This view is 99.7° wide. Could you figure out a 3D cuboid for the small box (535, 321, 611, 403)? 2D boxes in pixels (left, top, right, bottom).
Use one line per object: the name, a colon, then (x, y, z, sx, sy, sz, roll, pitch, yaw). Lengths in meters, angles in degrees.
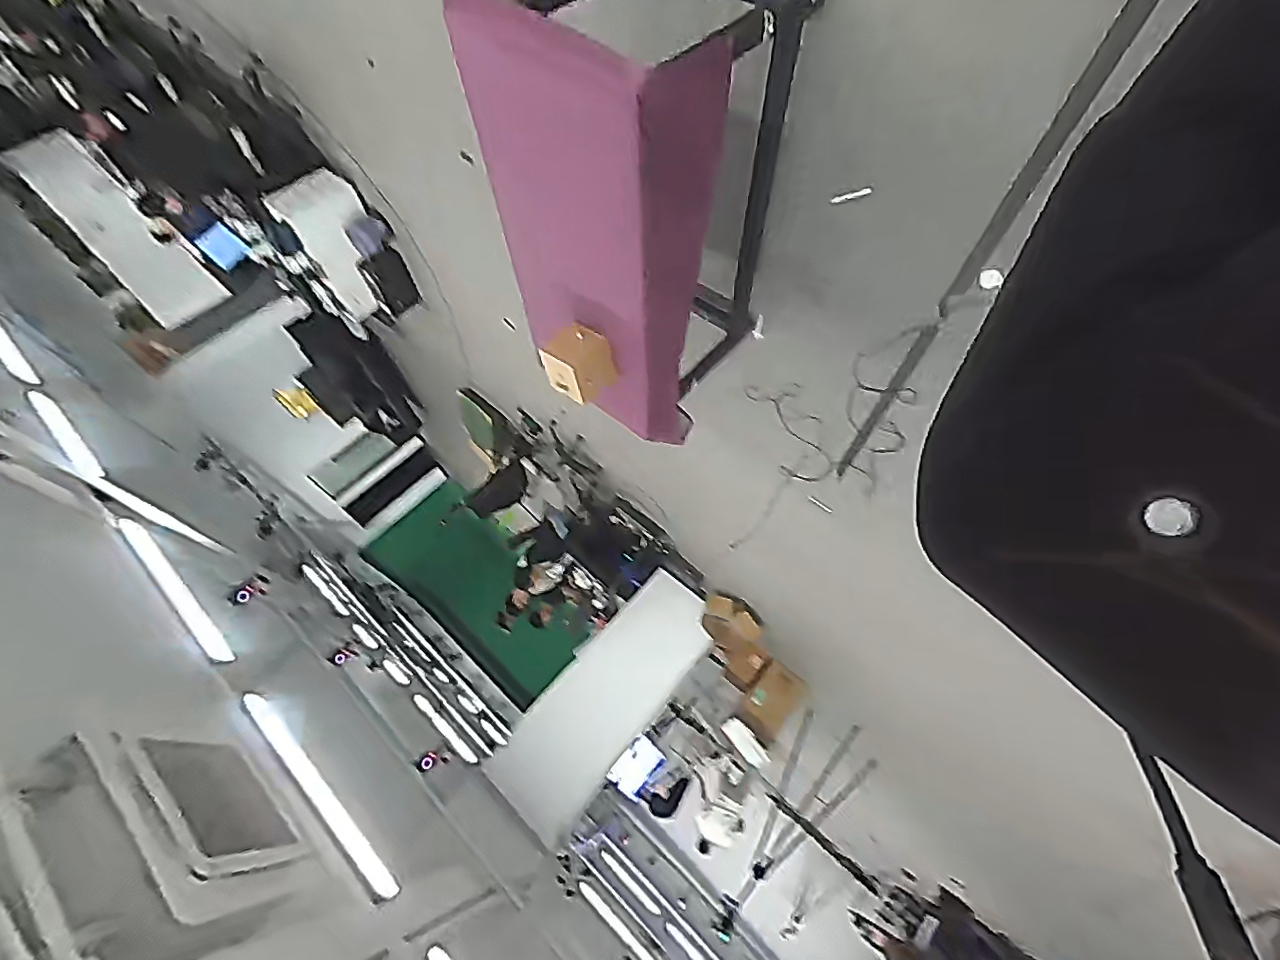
small box: (-0.217, -0.398, 1.822, 0.168, 0.176, 0.179, 32, 155, 29)
